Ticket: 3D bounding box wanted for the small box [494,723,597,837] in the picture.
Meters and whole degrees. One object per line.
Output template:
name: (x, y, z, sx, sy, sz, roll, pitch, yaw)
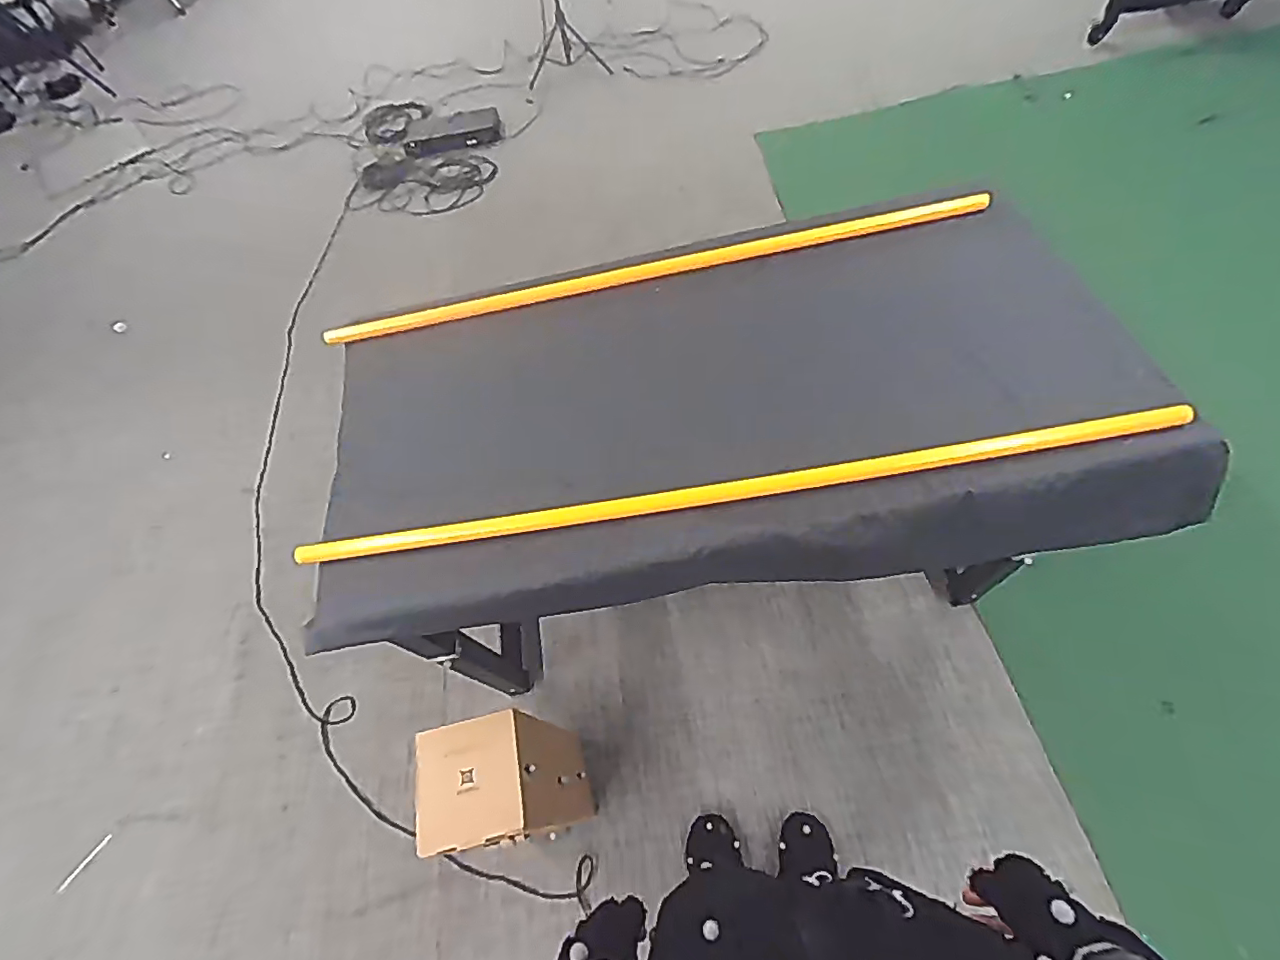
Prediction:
small box: (-0.204, 0.656, 1.186, 0.168, 0.176, 0.179, -18, 60, -1)
